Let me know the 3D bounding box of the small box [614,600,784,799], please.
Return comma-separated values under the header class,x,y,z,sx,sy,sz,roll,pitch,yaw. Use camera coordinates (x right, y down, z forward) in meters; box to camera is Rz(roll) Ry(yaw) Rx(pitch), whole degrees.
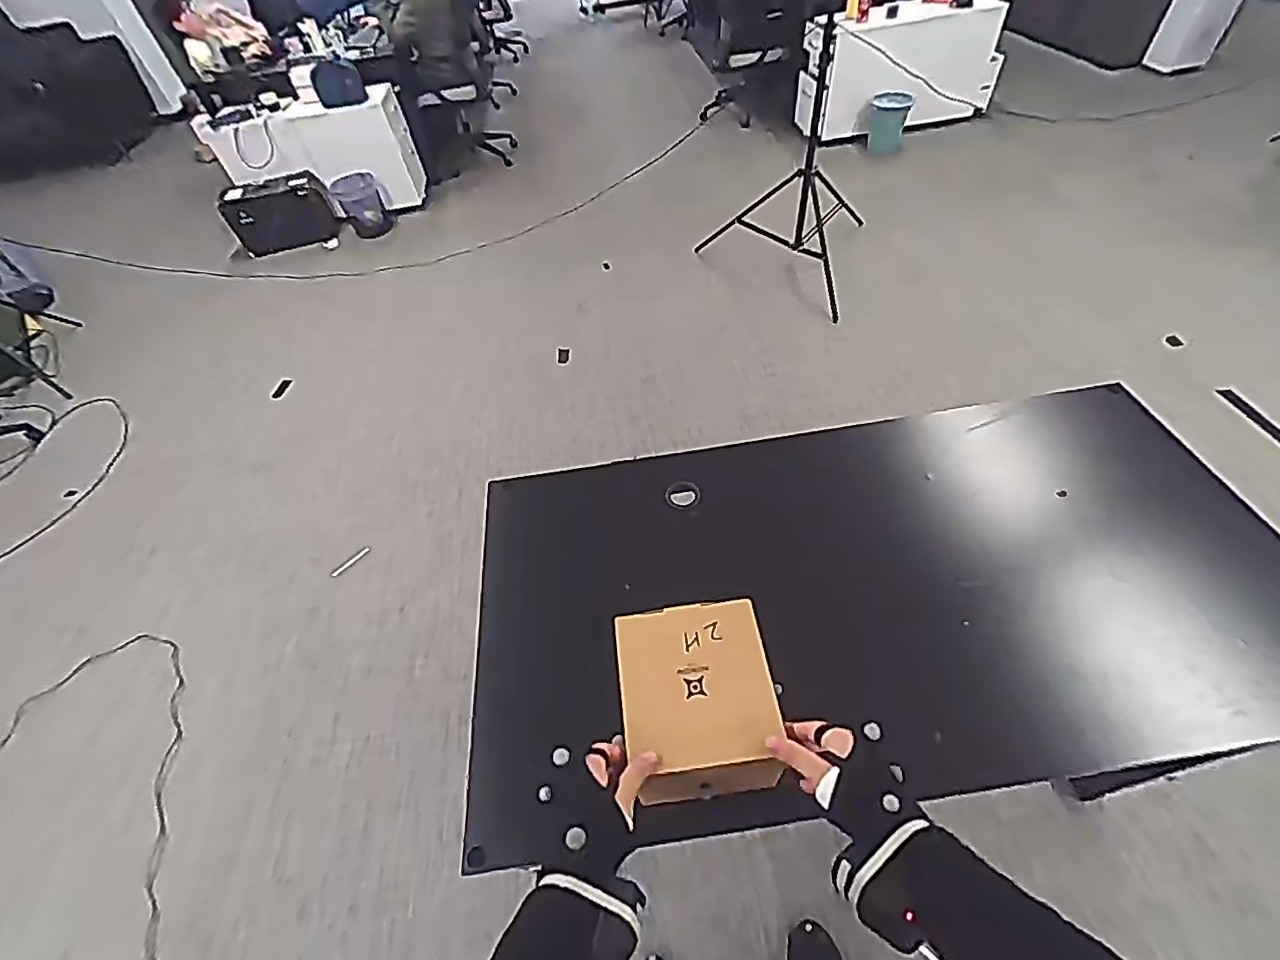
class,x,y,z,sx,sy,sz,roll,pitch,yaw
small box,0.066,0.271,0.655,0.168,0.176,0.179,-9,50,0
